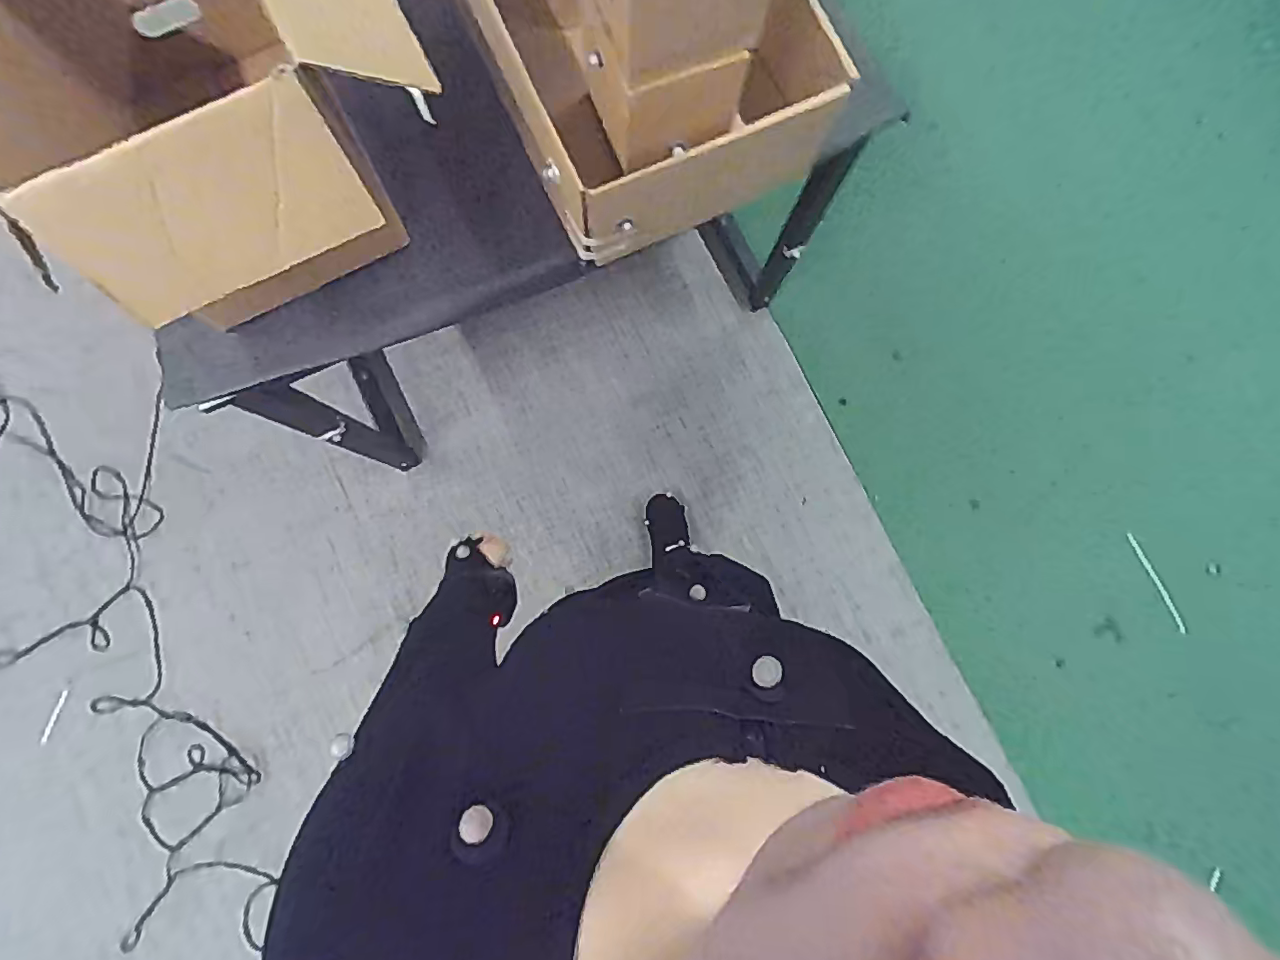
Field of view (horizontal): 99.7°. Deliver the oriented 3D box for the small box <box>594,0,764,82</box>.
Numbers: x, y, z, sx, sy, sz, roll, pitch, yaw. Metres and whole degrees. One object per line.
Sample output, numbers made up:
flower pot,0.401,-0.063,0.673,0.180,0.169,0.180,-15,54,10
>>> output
small box,0.038,-0.588,0.592,0.179,0.176,0.168,-22,85,-5
